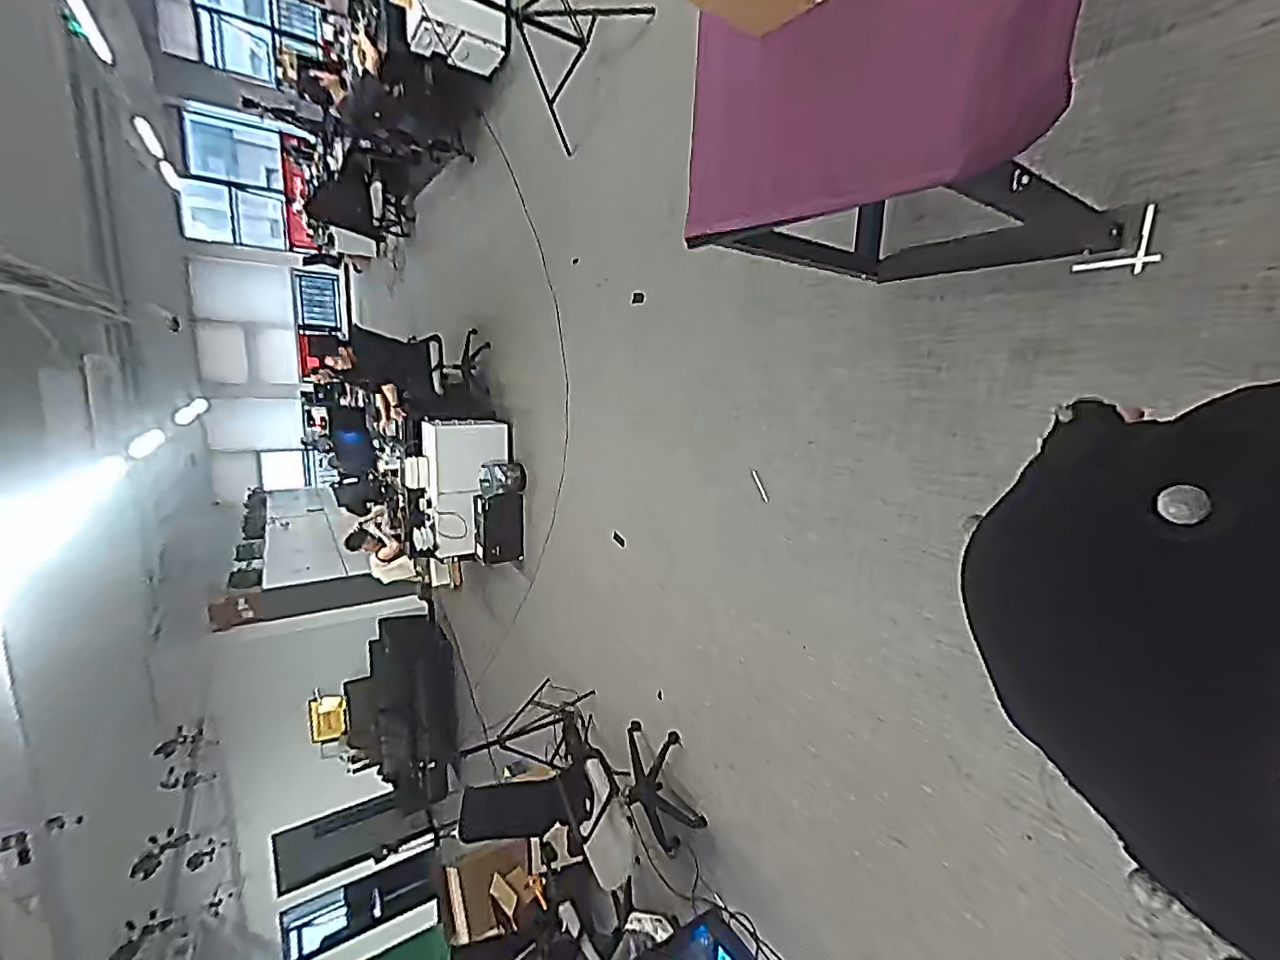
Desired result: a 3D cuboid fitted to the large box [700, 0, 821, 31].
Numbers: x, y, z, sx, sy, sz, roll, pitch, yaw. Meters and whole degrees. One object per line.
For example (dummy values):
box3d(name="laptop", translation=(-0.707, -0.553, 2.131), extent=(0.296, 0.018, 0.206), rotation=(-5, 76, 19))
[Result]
box3d(name="large box", translation=(0.200, -0.983, 0.766), extent=(0.320, 0.320, 0.408), rotation=(22, 114, 56))
